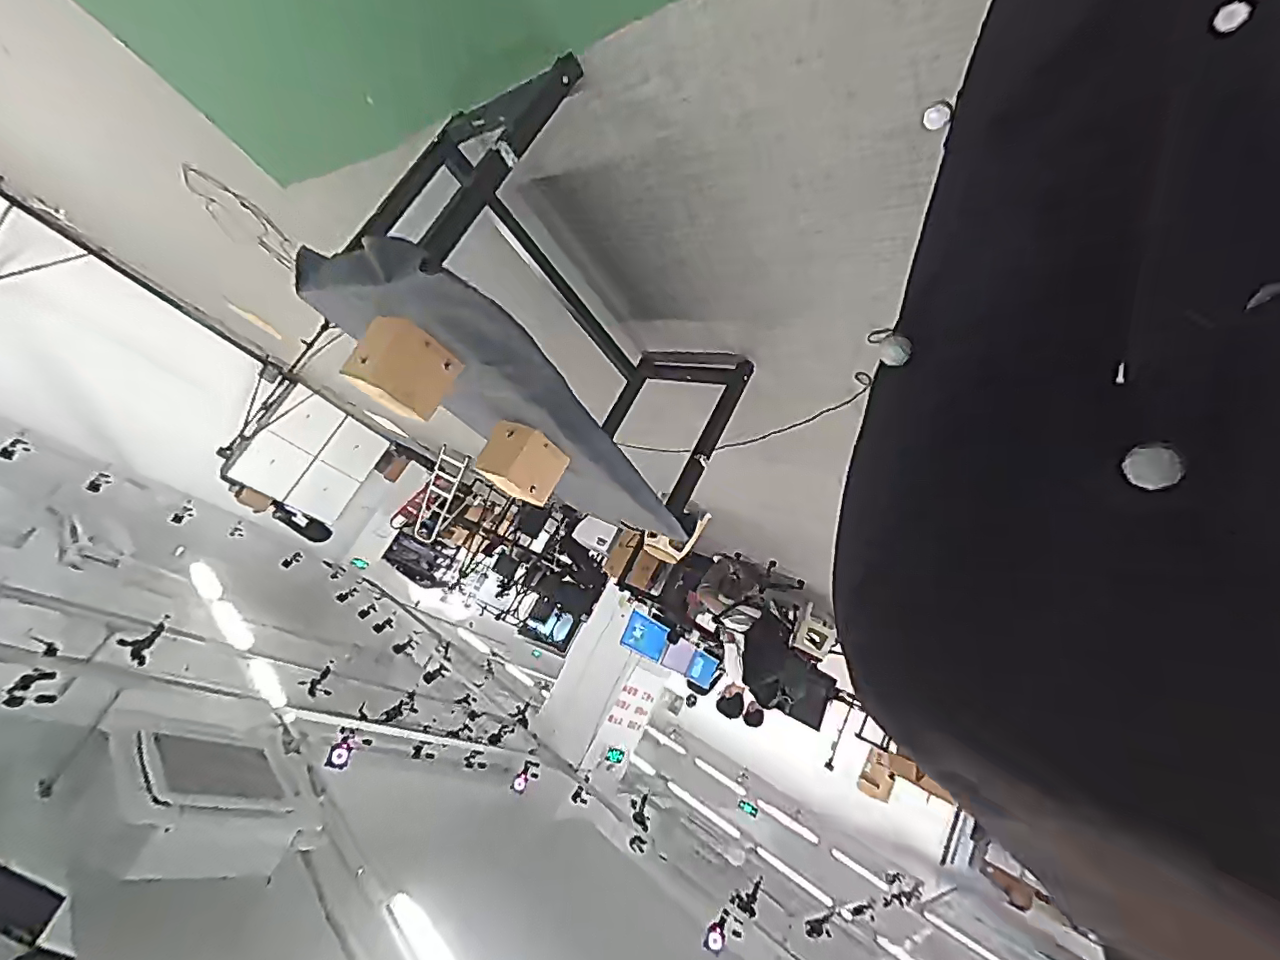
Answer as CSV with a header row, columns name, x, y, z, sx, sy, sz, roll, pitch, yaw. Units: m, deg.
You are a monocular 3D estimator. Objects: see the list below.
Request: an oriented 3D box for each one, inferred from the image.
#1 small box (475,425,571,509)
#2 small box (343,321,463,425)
name,x,y,z,sx,sy,sz,roll,pitch,yaw
small box,-0.335,-0.042,1.570,0.179,0.176,0.168,16,161,42
small box,-0.543,-0.252,1.260,0.179,0.176,0.168,18,162,41
